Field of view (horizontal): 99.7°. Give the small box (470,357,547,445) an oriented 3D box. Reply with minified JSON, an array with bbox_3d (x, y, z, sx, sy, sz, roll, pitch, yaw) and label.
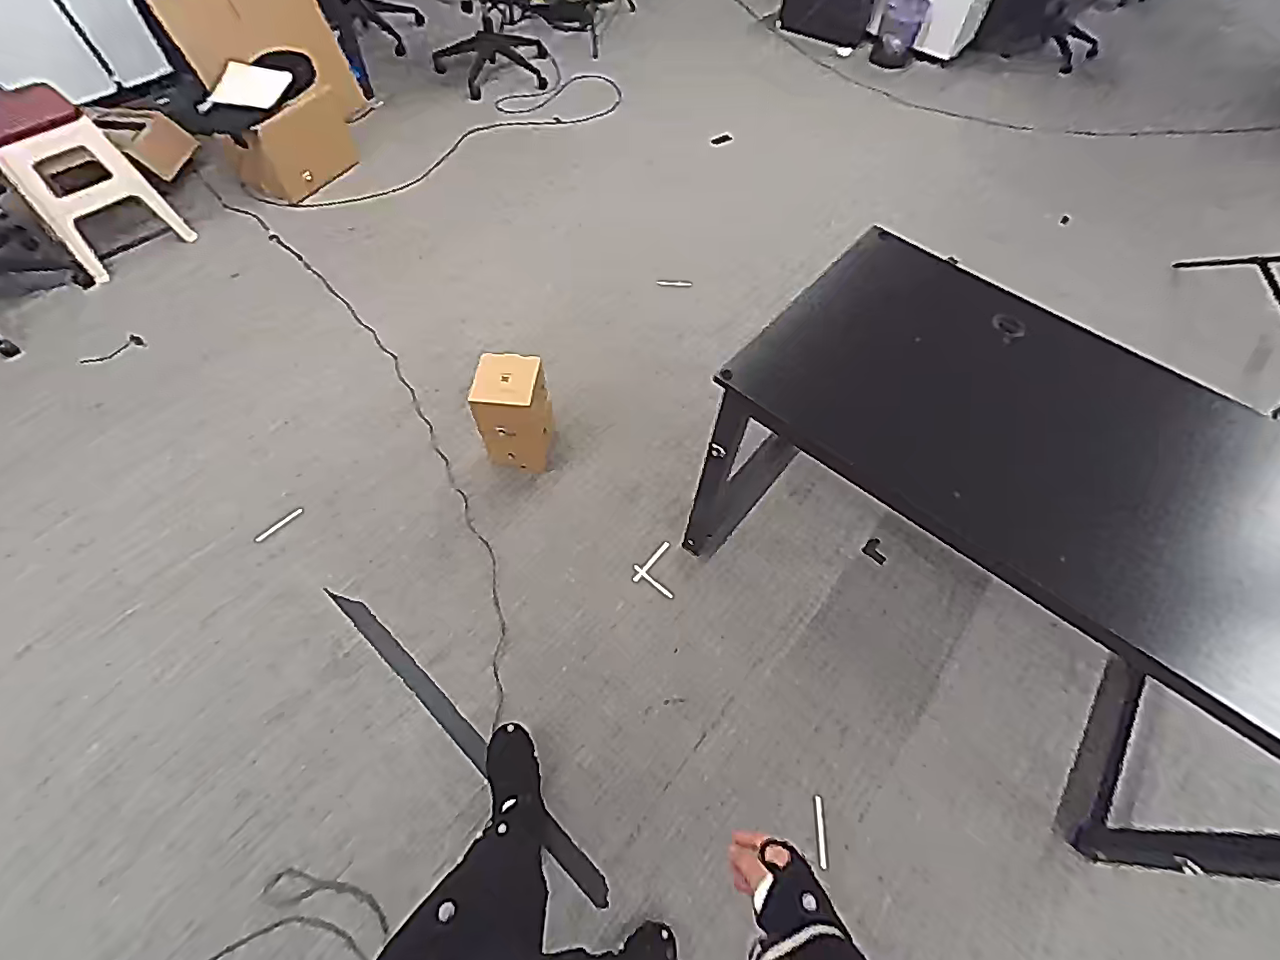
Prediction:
[{"bbox_3d":[-0.364,-0.222,1.530,0.168,0.176,0.179,4,60,1],"label":"small box"}]

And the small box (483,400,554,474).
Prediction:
[{"bbox_3d":[-0.367,-0.139,1.670,0.168,0.176,0.179,10,58,1],"label":"small box"}]
